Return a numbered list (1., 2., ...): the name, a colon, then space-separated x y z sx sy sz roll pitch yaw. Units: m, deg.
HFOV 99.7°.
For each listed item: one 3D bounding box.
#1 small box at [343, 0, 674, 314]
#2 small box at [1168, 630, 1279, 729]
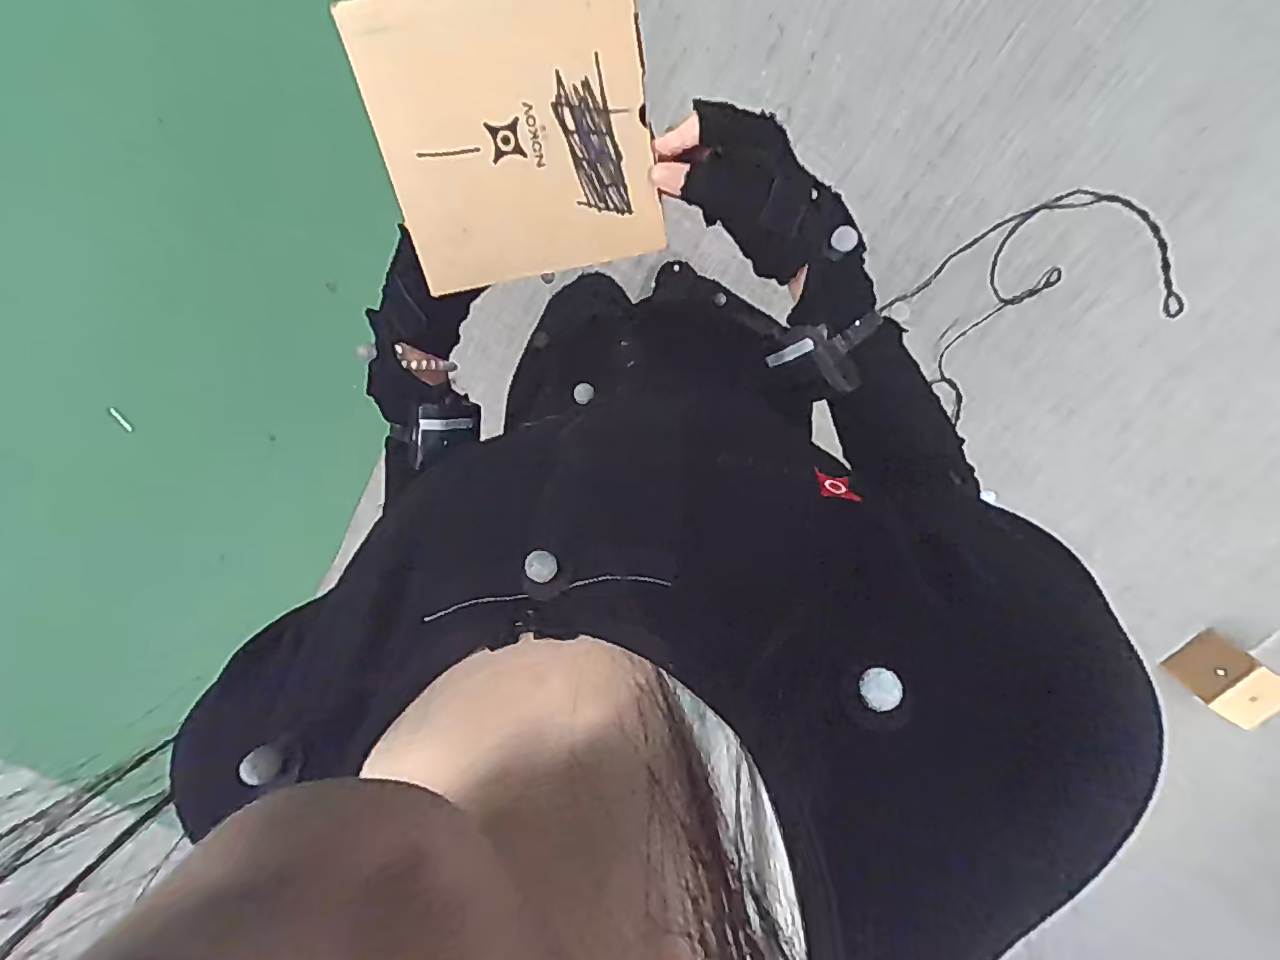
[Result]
1. small box: -0.082 -0.242 0.415 0.179 0.176 0.168 -12 119 -1
2. small box: 1.717 0.578 1.580 0.168 0.176 0.179 30 111 -8
